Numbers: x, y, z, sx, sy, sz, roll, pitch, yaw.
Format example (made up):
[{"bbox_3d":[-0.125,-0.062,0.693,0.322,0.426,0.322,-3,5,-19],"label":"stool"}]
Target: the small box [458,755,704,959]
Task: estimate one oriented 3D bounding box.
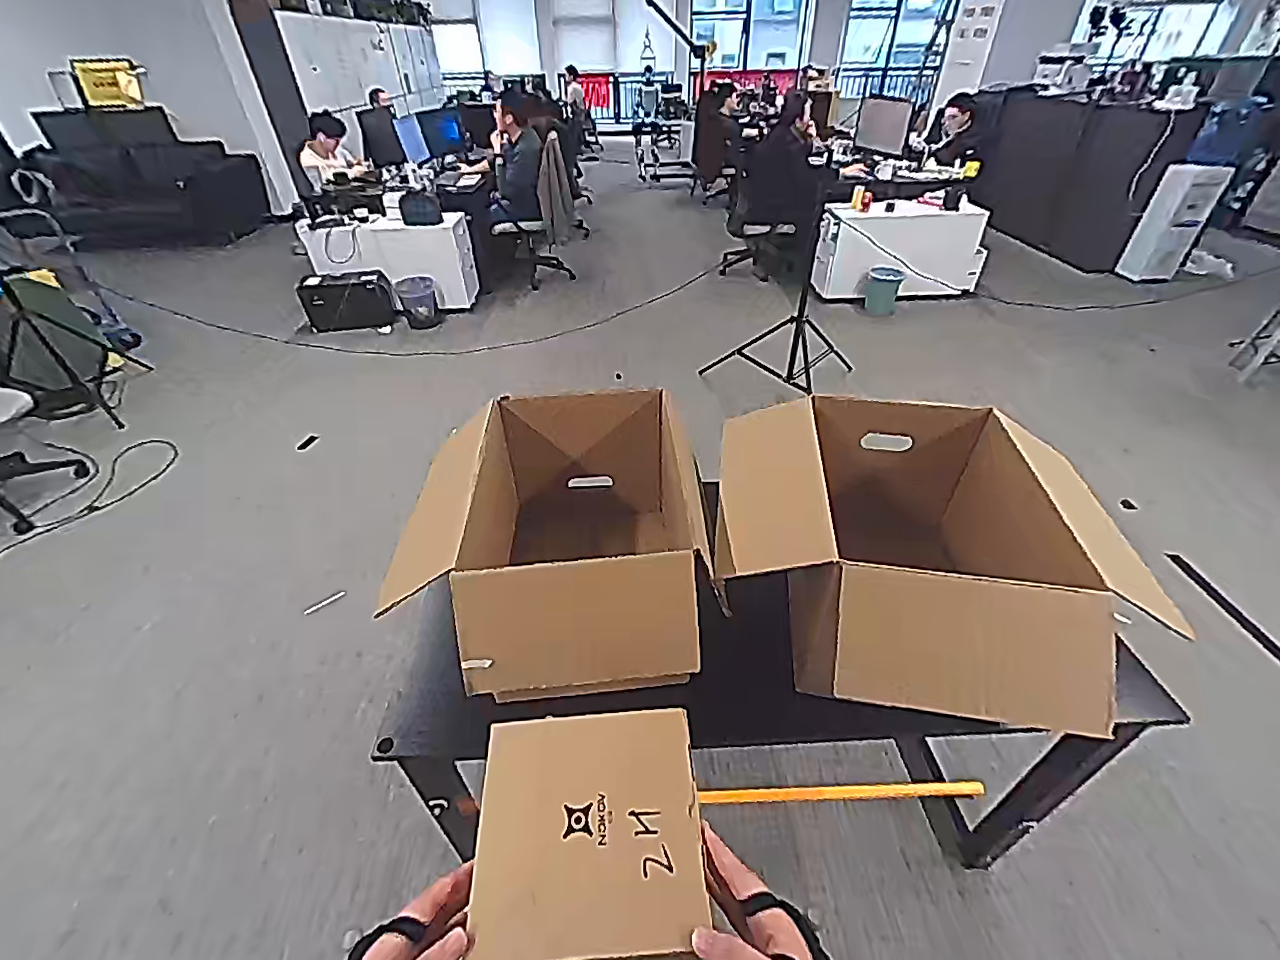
[{"bbox_3d":[-0.041,0.358,0.467,0.179,0.176,0.168,-4,45,-1],"label":"small box"}]
